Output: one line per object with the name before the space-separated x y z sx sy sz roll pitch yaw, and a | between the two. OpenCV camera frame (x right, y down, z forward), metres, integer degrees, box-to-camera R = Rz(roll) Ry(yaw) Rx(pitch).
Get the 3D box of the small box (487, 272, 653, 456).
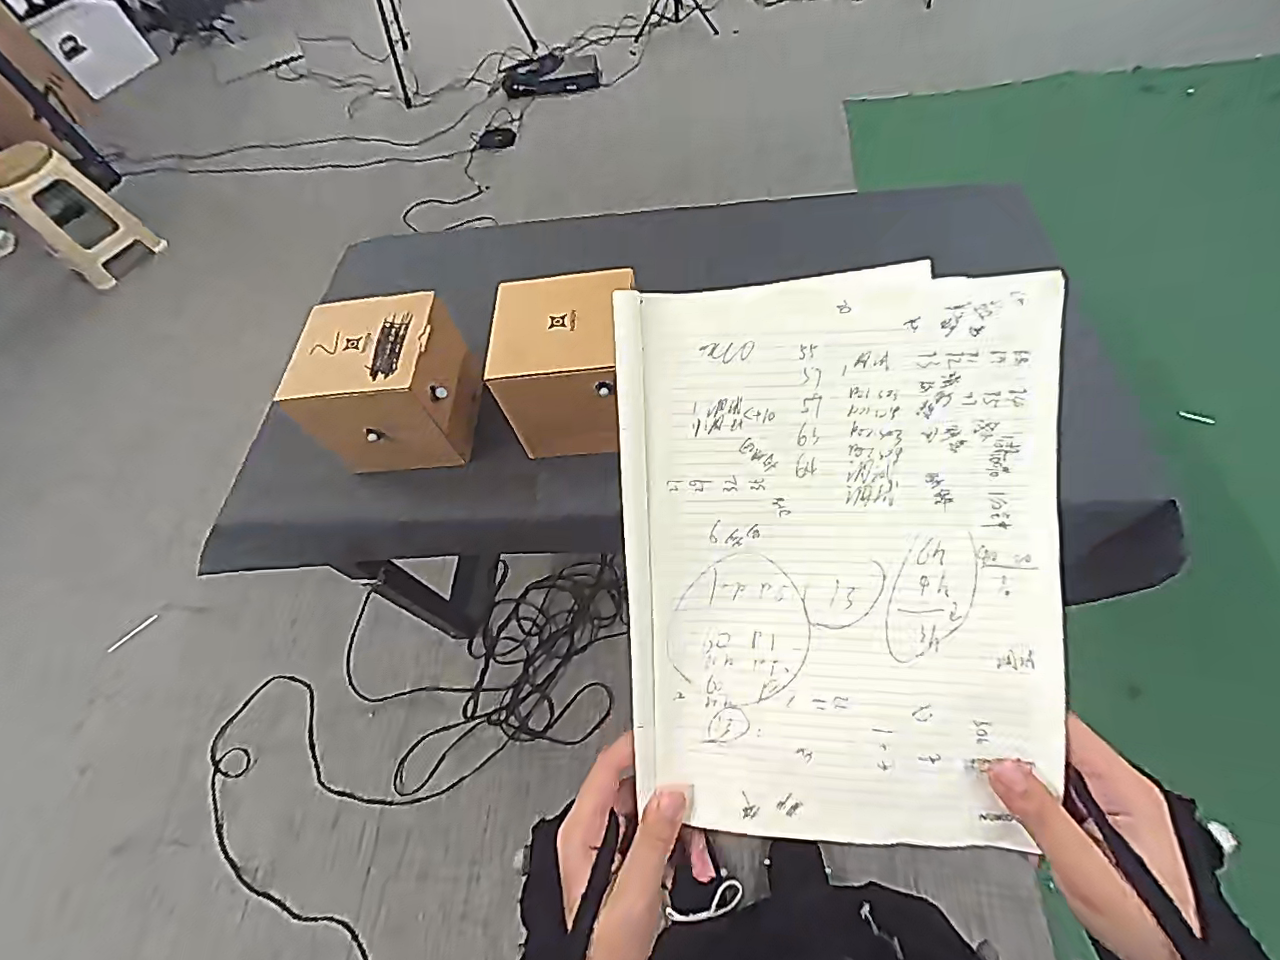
small box | -0.080 -0.145 0.718 0.179 0.176 0.168 -5 58 5
